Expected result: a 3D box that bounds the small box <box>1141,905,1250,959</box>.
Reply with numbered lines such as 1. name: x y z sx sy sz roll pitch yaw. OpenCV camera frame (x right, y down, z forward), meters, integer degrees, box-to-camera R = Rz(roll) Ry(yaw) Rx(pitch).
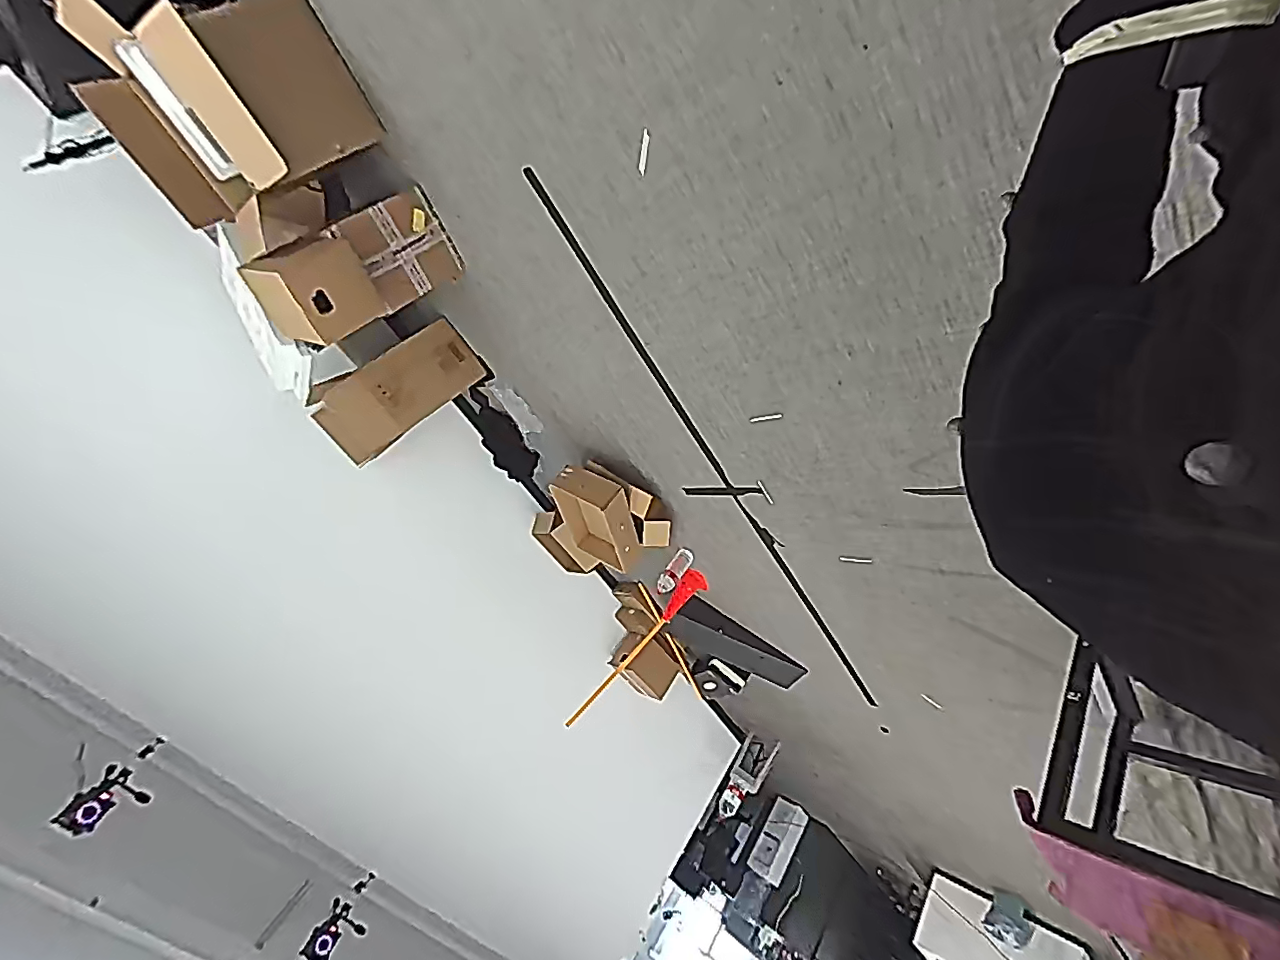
1. small box: 1.397 1.217 1.357 0.179 0.176 0.168 -1 132 51
